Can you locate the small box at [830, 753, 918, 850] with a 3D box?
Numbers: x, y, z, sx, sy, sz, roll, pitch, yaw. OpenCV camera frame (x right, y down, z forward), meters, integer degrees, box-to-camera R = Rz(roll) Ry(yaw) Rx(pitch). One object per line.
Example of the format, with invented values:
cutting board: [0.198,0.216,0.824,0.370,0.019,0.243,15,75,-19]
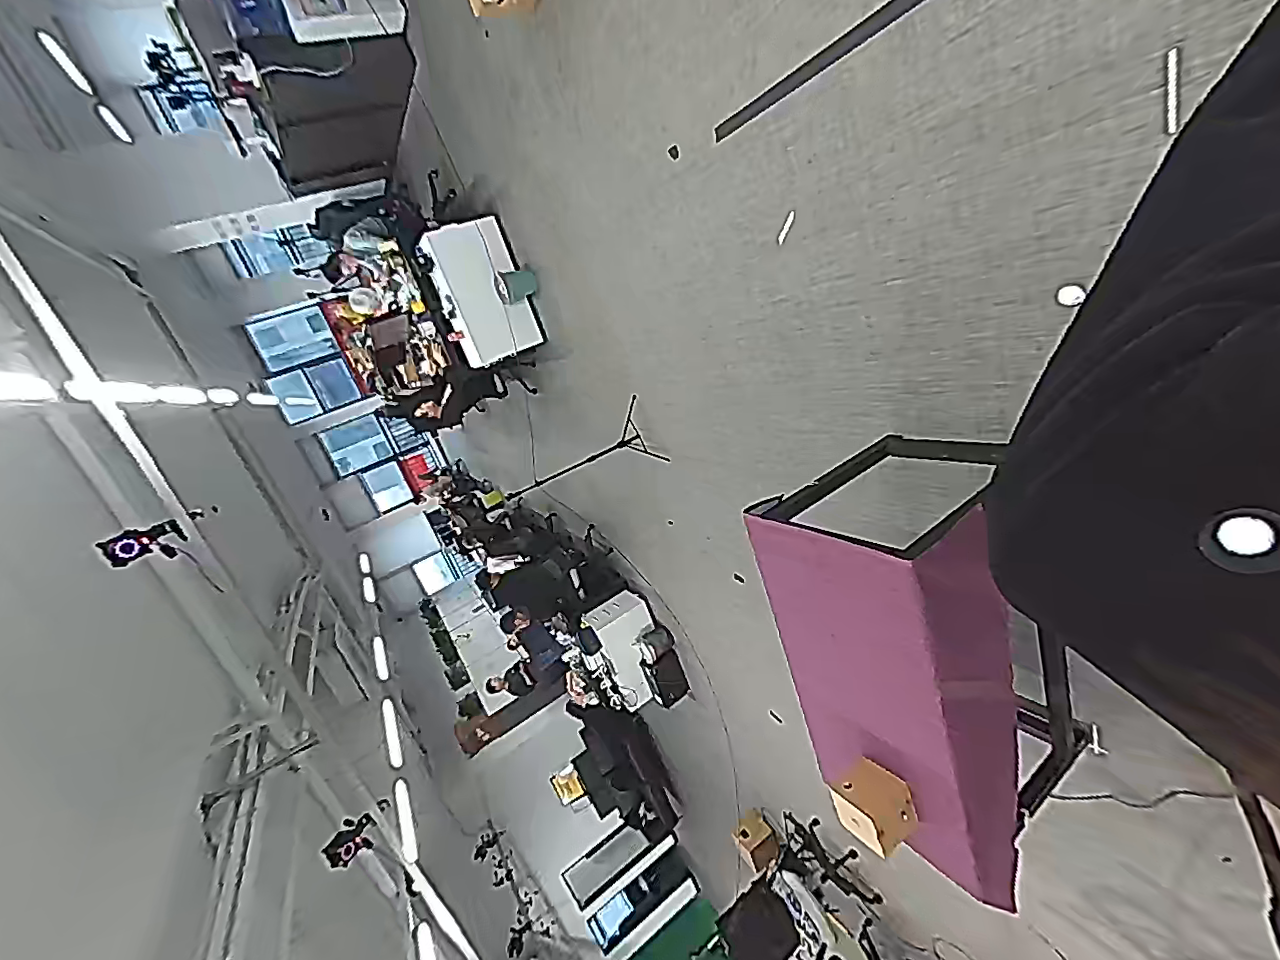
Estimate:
small box: [0.749,1.016,1.733,0.179,0.176,0.168,8,124,62]
